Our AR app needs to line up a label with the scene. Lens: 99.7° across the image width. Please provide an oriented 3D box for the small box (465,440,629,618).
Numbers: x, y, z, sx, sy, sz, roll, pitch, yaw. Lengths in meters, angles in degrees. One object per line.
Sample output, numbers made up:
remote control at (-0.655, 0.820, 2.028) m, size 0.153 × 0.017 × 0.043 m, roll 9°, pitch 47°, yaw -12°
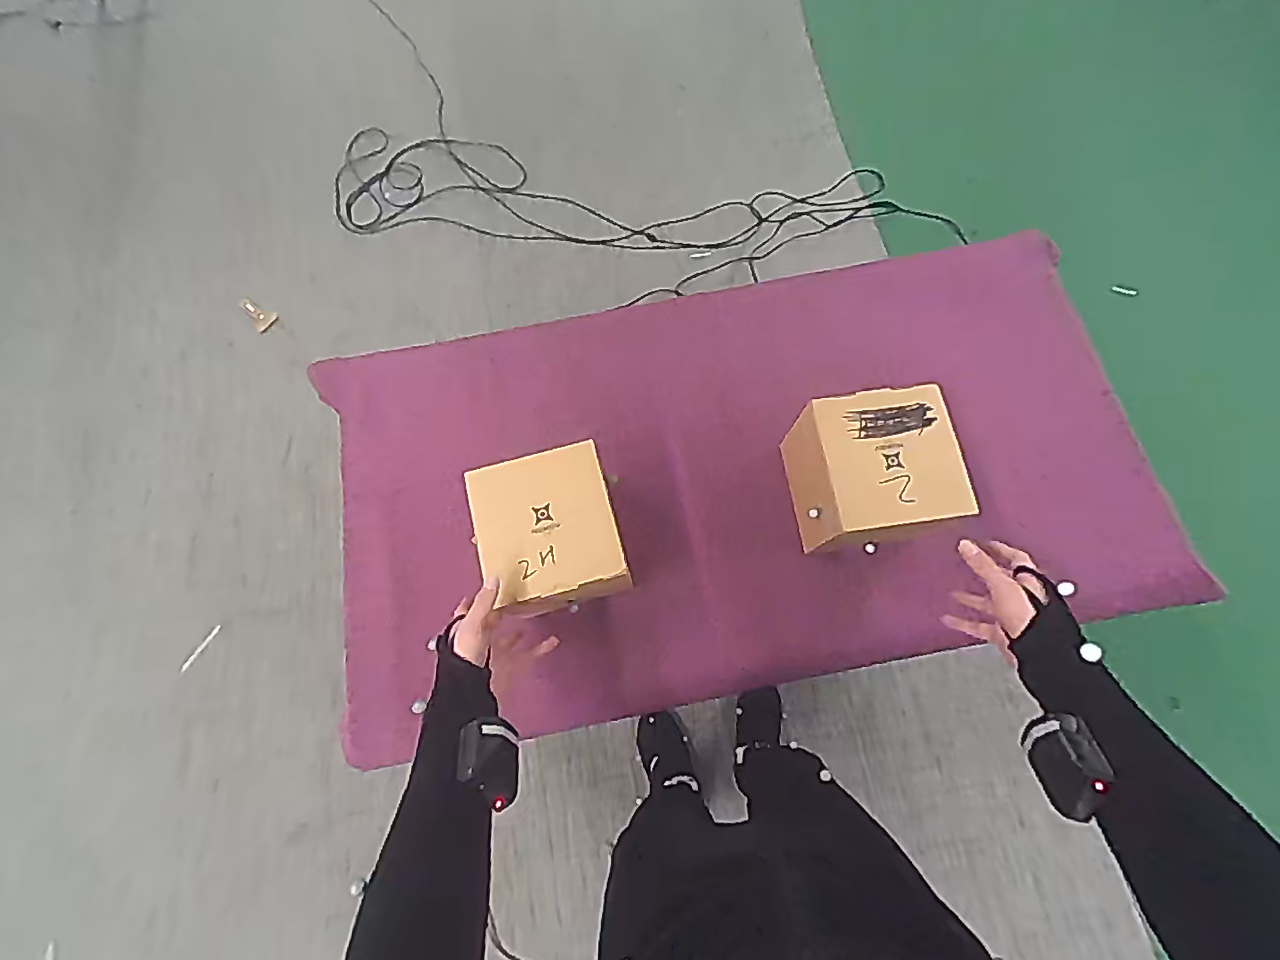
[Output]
small box at (-0.114, 0.072, 0.711) m, size 0.168 × 0.176 × 0.179 m, roll -14°, pitch 72°, yaw -3°
